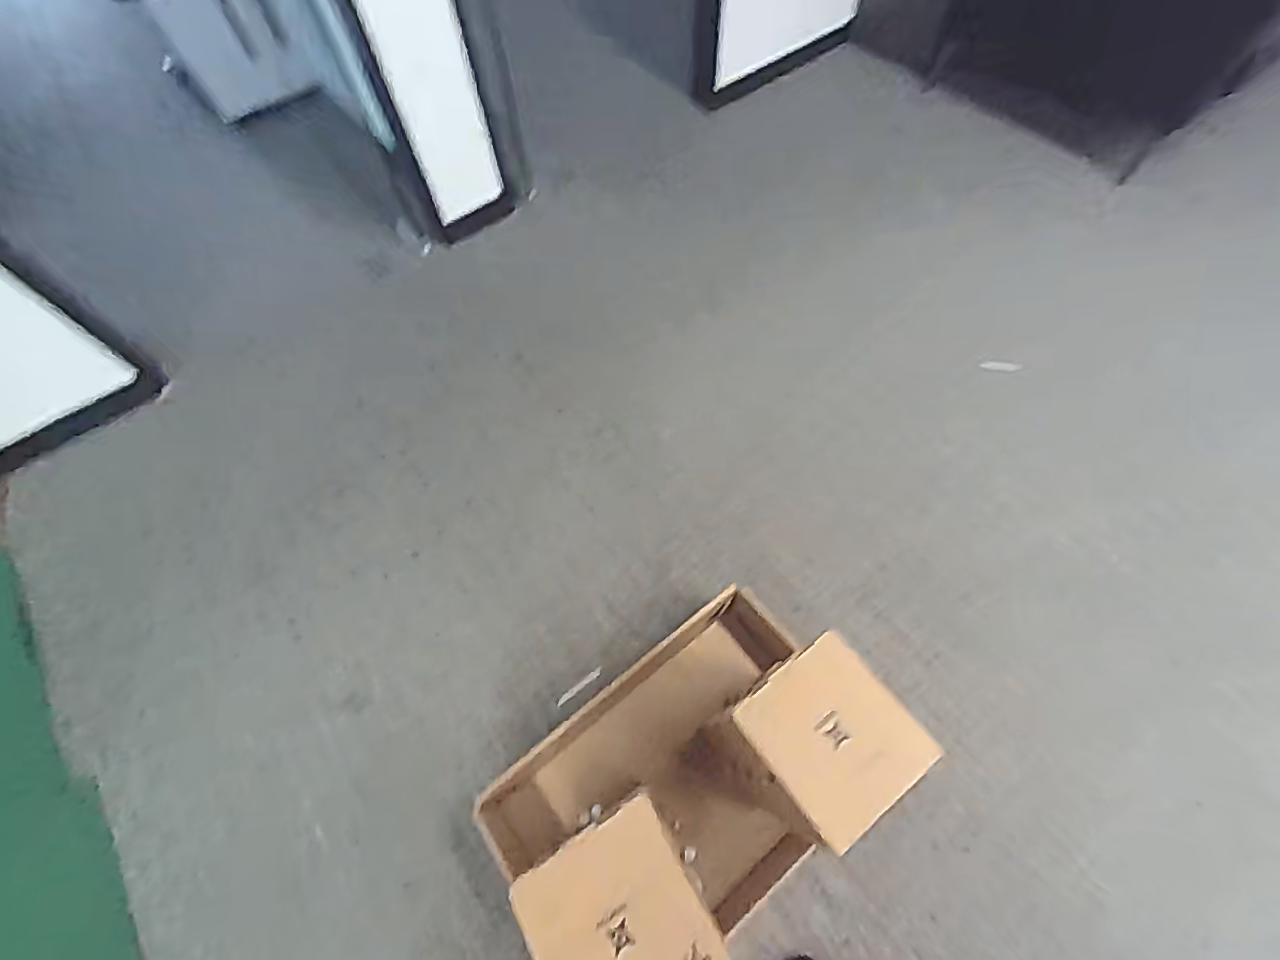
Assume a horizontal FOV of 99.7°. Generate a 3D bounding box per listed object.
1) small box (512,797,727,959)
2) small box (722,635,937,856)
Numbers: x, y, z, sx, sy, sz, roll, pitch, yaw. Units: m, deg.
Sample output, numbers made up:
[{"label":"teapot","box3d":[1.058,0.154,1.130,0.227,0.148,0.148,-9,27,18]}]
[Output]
[{"label":"small box","box3d":[-0.020,0.489,0.607,0.168,0.176,0.179,-28,63,-12]},{"label":"small box","box3d":[0.221,0.331,0.687,0.168,0.176,0.179,-34,65,-14]}]
